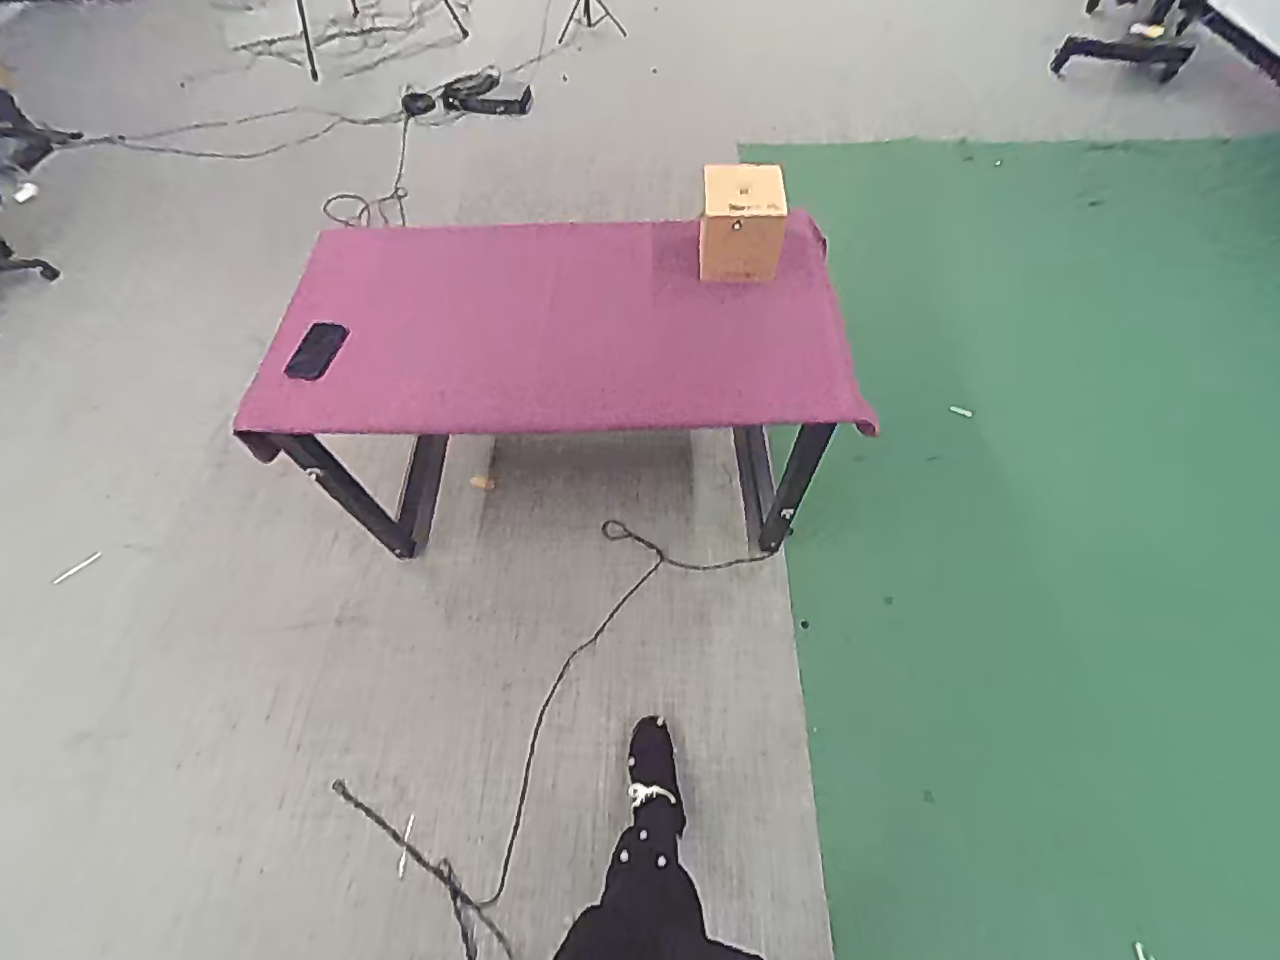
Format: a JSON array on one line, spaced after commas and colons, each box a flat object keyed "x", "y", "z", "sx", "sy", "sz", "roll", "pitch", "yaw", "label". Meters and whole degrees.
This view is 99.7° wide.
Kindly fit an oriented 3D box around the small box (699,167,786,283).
[{"x": 0.217, "y": -0.559, "z": 1.188, "sx": 0.168, "sy": 0.176, "sz": 0.179, "roll": 1, "pitch": 59, "yaw": 4, "label": "small box"}]
